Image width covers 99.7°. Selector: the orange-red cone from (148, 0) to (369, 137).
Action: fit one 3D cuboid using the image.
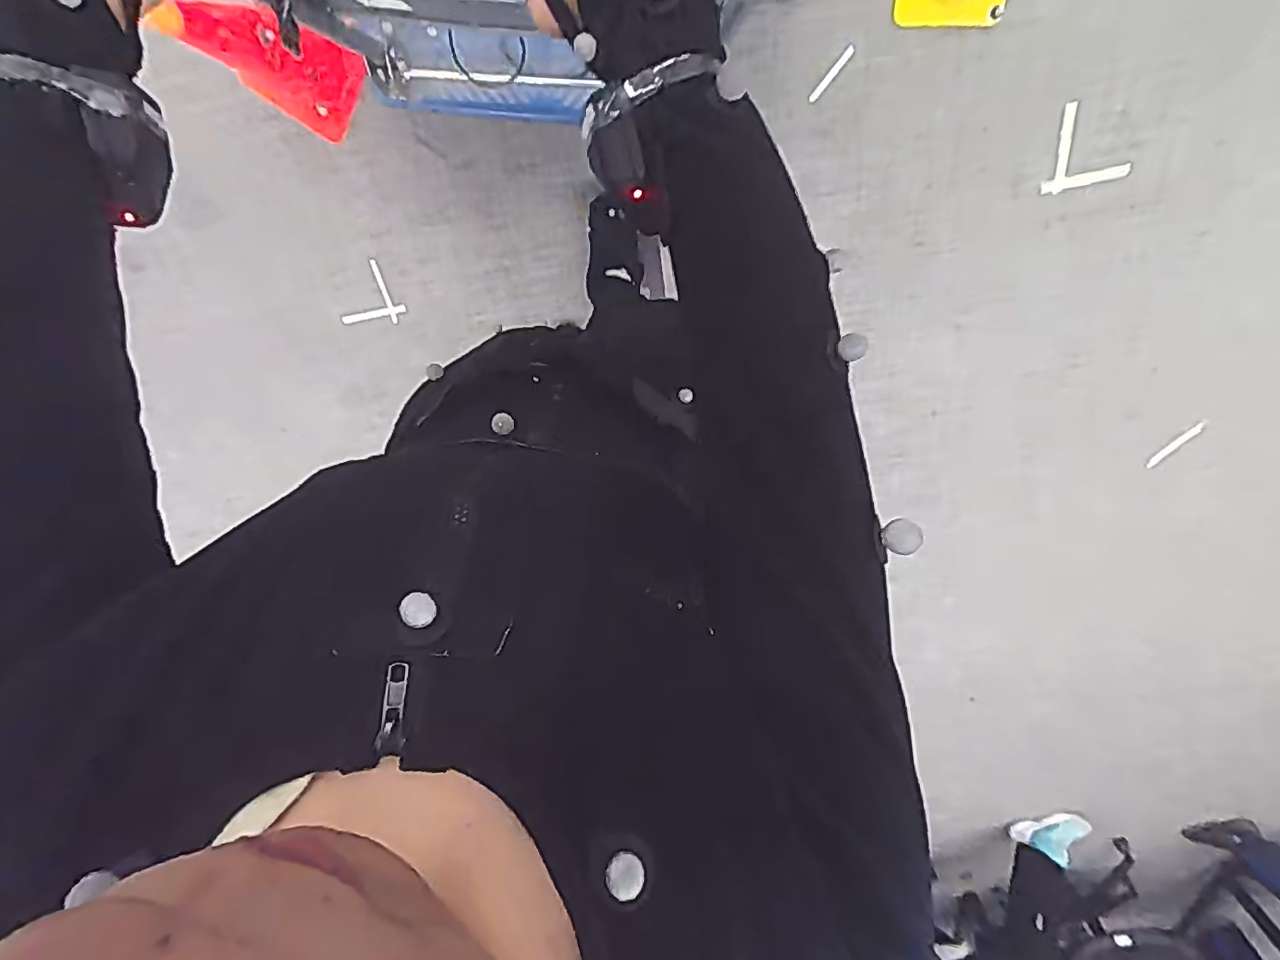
[{"bbox_3d":[-0.614,-0.691,0.839,0.198,0.360,0.199,32,113,-18],"label":"orange-red cone"}]
